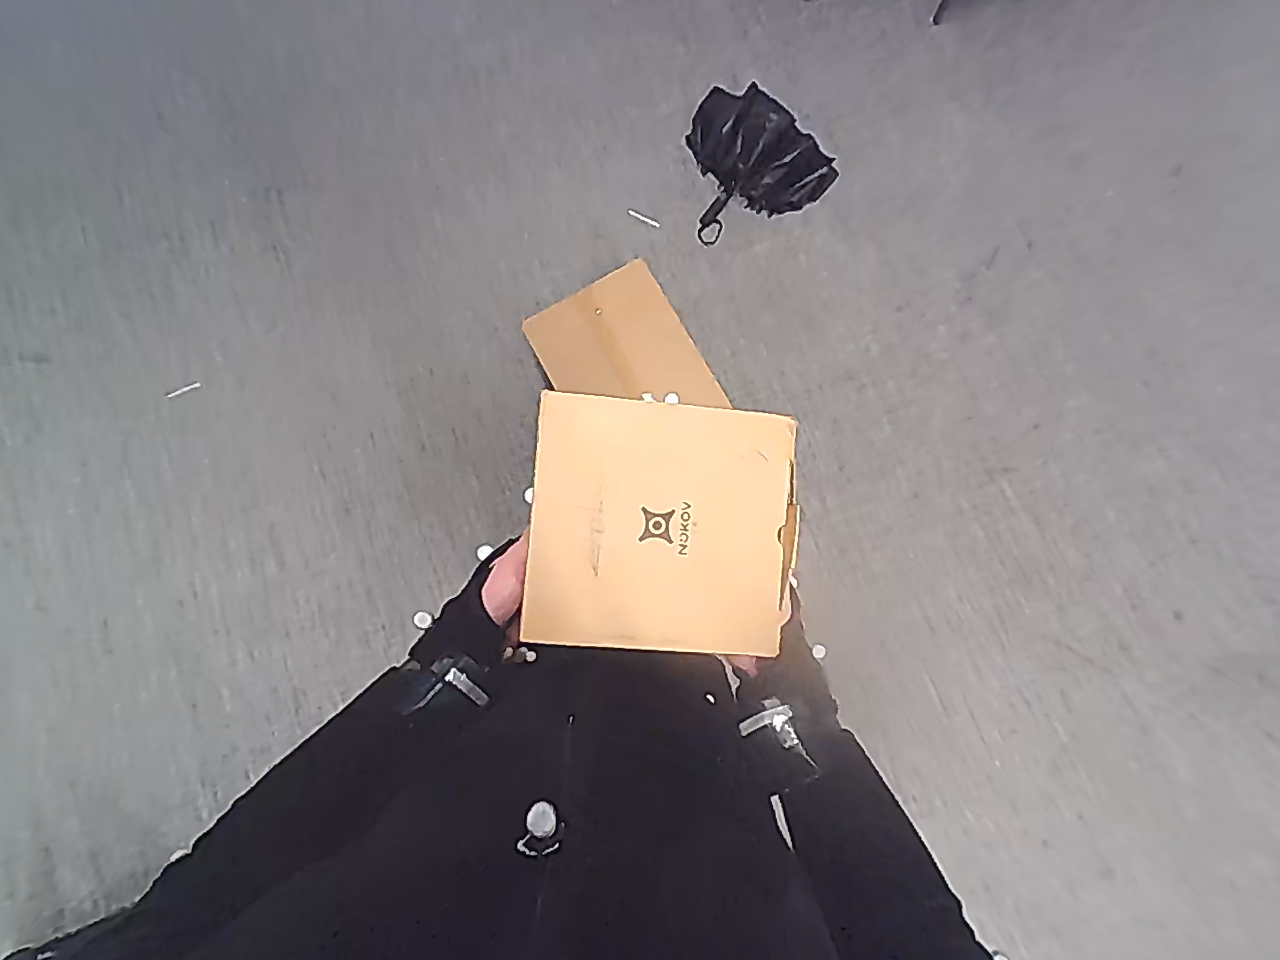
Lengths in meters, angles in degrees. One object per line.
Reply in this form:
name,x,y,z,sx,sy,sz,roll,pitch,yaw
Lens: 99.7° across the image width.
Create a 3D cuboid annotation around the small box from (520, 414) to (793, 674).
small box,0.007,0.047,0.440,0.179,0.176,0.168,4,86,-4
